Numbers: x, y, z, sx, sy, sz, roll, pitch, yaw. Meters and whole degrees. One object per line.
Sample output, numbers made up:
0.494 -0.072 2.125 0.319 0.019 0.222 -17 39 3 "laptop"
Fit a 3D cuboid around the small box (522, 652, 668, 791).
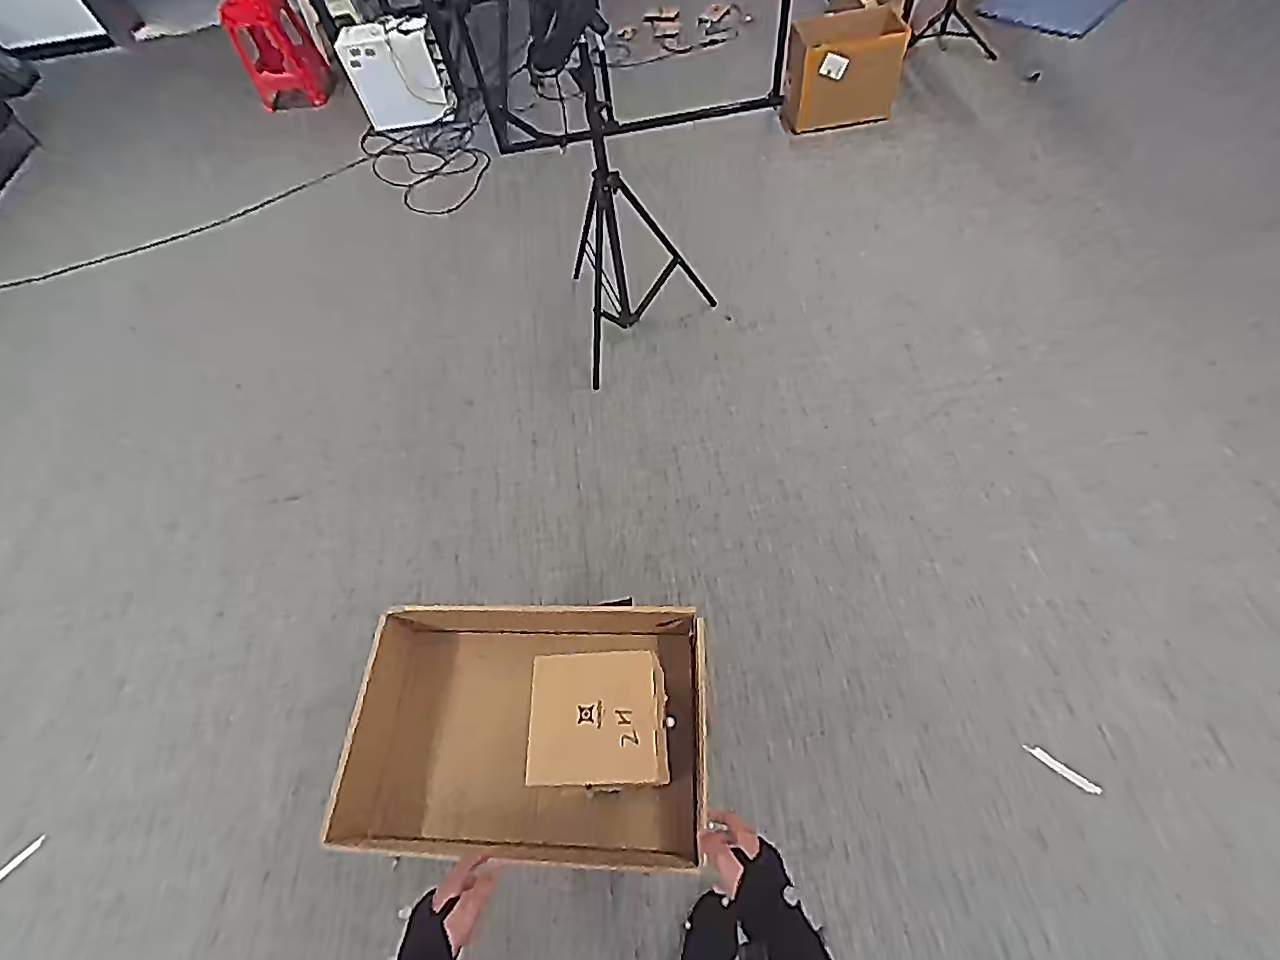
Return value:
-0.056 0.356 0.788 0.179 0.176 0.168 -4 60 5 "small box"
